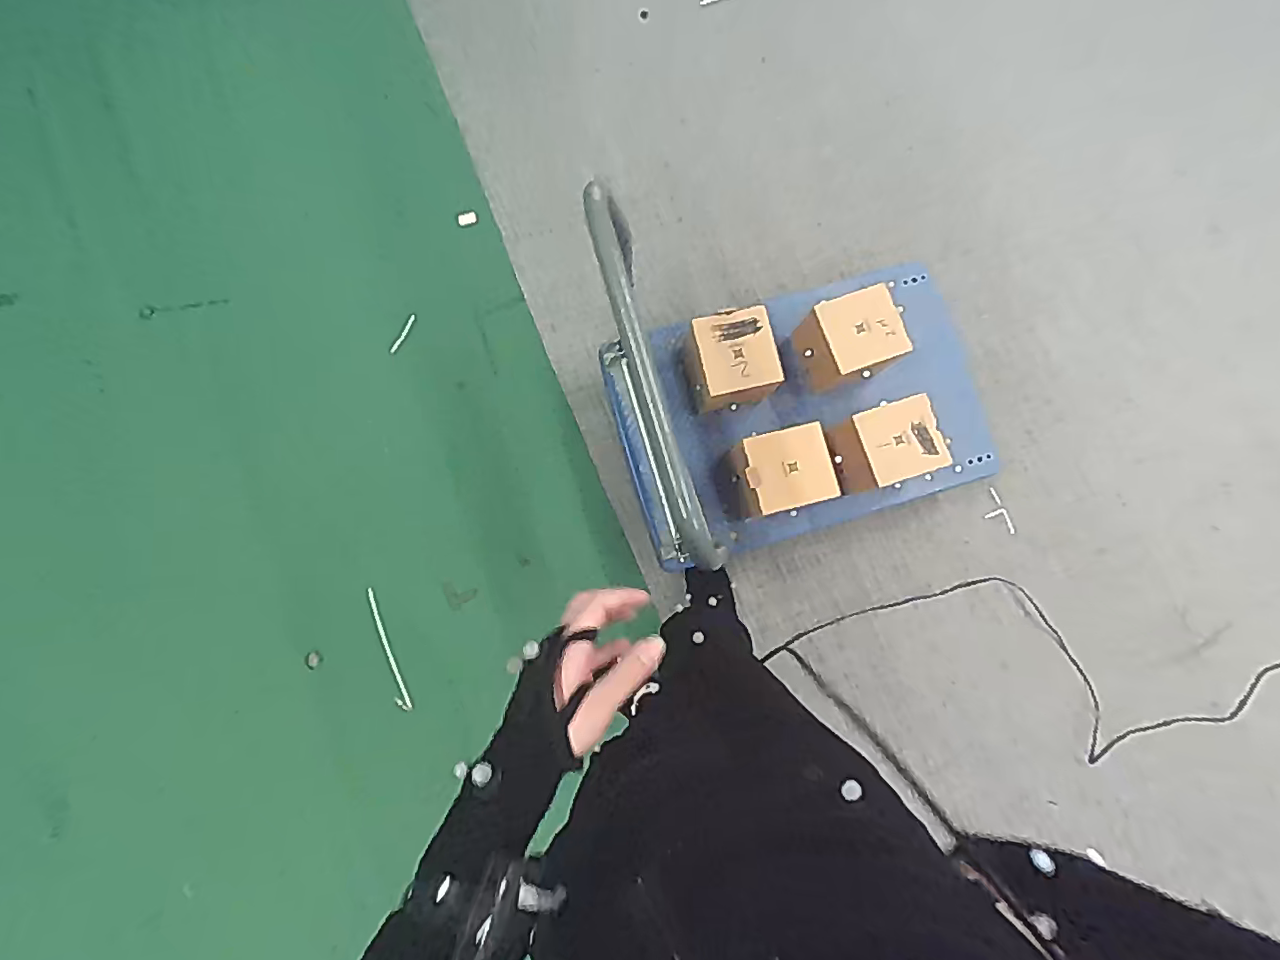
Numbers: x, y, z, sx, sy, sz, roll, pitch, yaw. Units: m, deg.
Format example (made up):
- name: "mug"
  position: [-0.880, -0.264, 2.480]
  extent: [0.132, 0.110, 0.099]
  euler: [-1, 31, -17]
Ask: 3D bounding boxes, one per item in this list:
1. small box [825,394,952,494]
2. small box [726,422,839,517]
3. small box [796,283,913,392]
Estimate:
- name: "small box"
  position: [0.549, -0.075, 1.216]
  extent: [0.179, 0.176, 0.168]
  euler: [-17, 83, -4]
- name: "small box"
  position: [0.307, -0.017, 1.198]
  extent: [0.179, 0.176, 0.168]
  euler: [-14, 84, -4]
- name: "small box"
  position: [0.478, -0.319, 1.243]
  extent: [0.179, 0.176, 0.168]
  euler: [-19, 85, -5]
